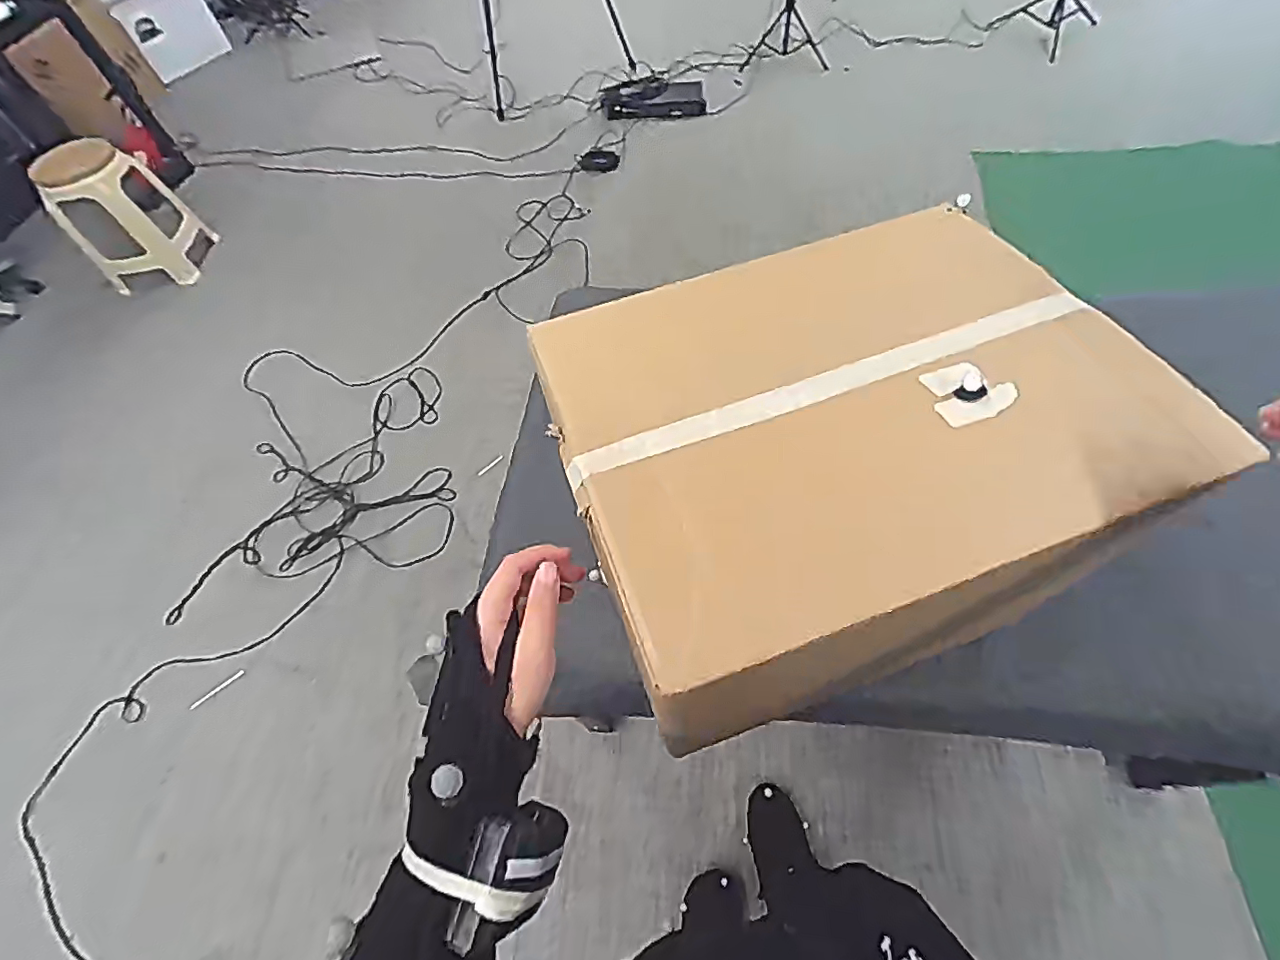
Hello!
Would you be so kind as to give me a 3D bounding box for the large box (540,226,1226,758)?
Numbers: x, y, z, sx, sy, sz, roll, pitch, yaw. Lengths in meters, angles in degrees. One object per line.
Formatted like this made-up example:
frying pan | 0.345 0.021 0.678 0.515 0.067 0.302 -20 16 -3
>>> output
large box | 0.159 0.020 0.528 0.408 0.320 0.320 -19 58 -8
